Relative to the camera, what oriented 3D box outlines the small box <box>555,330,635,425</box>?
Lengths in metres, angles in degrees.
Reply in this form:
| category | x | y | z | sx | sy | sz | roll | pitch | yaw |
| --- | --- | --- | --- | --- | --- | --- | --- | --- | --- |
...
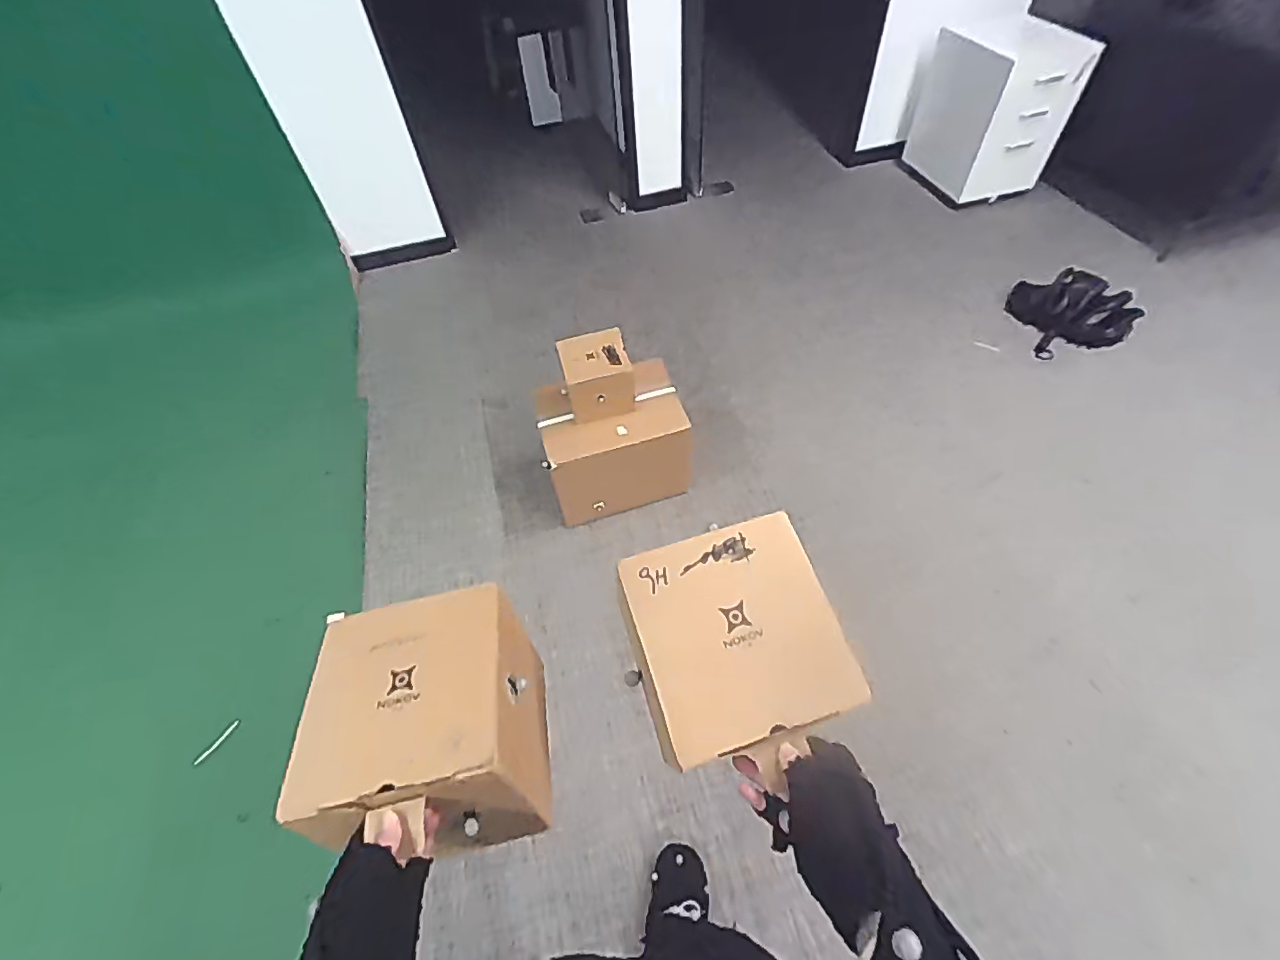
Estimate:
| category | x | y | z | sx | sy | sz | roll | pitch | yaw |
| --- | --- | --- | --- | --- | --- | --- | --- | --- | --- |
| small box | -0.120 | -0.277 | 1.484 | 0.179 | 0.176 | 0.168 | -17 | 60 | -8 |

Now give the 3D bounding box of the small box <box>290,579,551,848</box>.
| category | x | y | z | sx | sy | sz | roll | pitch | yaw |
| --- | --- | --- | --- | --- | --- | --- | --- | --- | --- |
| small box | -0.189 | 0.229 | 0.524 | 0.168 | 0.176 | 0.179 | -14 | 43 | -2 |
